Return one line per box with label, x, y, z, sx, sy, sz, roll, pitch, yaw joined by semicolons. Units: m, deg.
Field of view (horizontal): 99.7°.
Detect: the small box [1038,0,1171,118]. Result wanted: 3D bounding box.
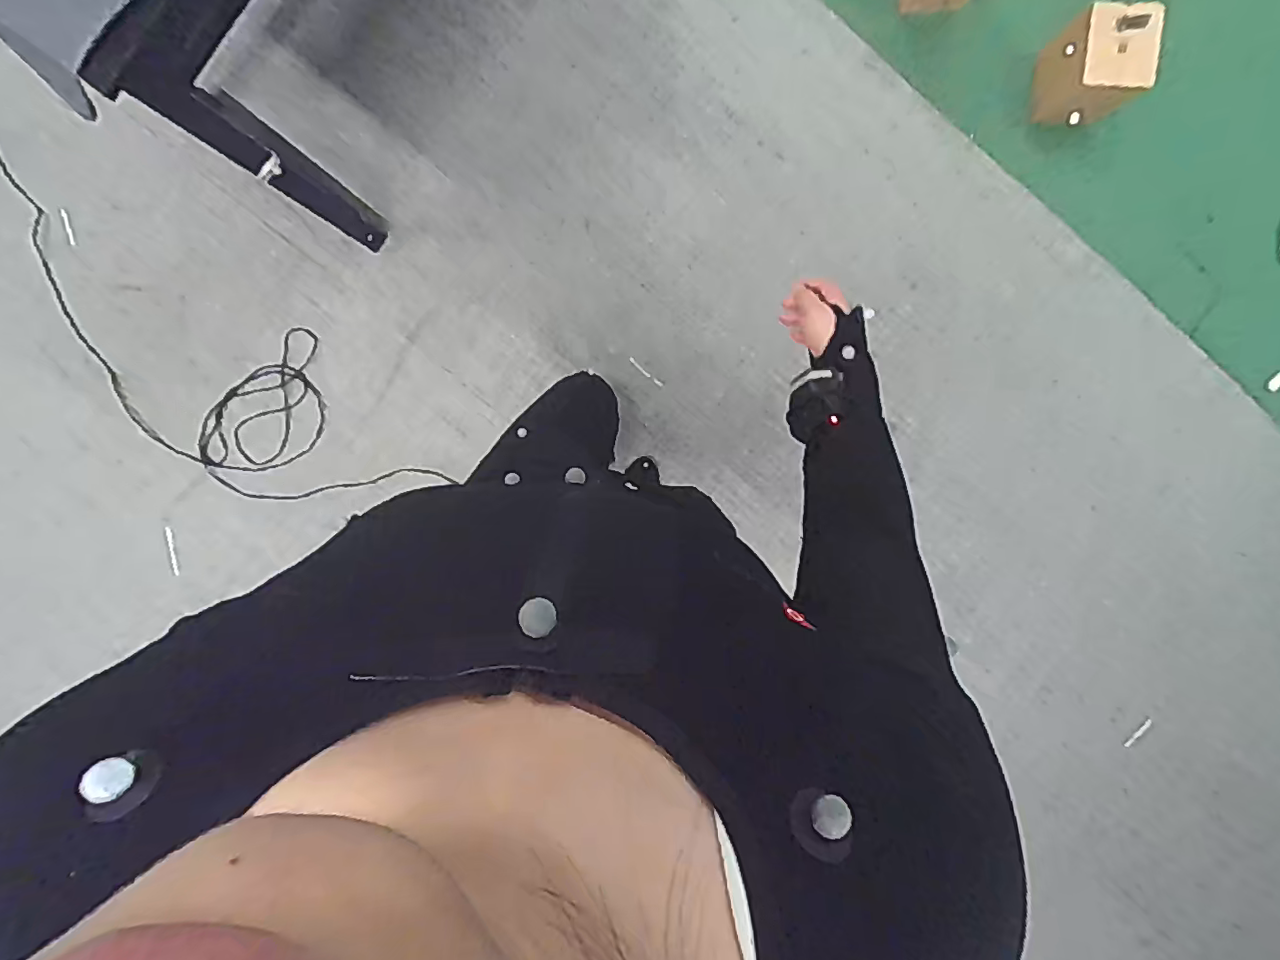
small box;1.088;-1.001;1.281;0.168;0.176;0.179;2;97;0
